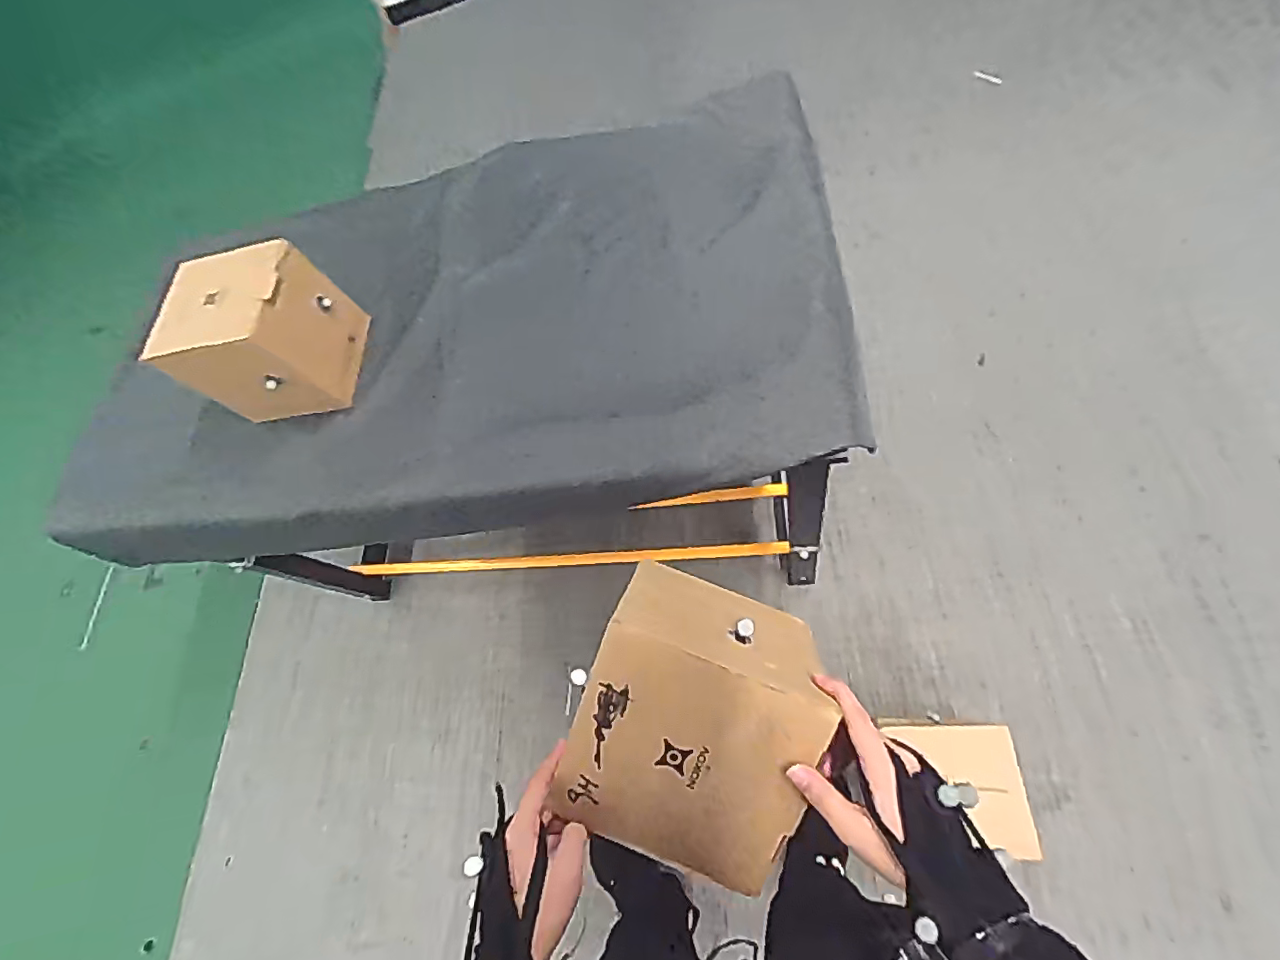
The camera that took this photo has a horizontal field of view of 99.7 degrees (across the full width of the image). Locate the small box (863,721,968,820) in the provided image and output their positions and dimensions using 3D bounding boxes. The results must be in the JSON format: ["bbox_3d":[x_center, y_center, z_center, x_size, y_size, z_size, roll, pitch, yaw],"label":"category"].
[{"bbox_3d":[0.517,0.529,0.977,0.179,0.176,0.168,-4,65,13],"label":"small box"}]

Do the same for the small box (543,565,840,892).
[{"bbox_3d":[0.042,0.191,0.470,0.179,0.176,0.168,20,99,5],"label":"small box"}]

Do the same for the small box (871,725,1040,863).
[{"bbox_3d":[0.464,0.471,0.833,0.179,0.176,0.168,-7,66,12],"label":"small box"}]

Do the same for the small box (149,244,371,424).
[{"bbox_3d":[-0.521,-0.197,0.770,0.179,0.176,0.168,-7,64,13],"label":"small box"}]
